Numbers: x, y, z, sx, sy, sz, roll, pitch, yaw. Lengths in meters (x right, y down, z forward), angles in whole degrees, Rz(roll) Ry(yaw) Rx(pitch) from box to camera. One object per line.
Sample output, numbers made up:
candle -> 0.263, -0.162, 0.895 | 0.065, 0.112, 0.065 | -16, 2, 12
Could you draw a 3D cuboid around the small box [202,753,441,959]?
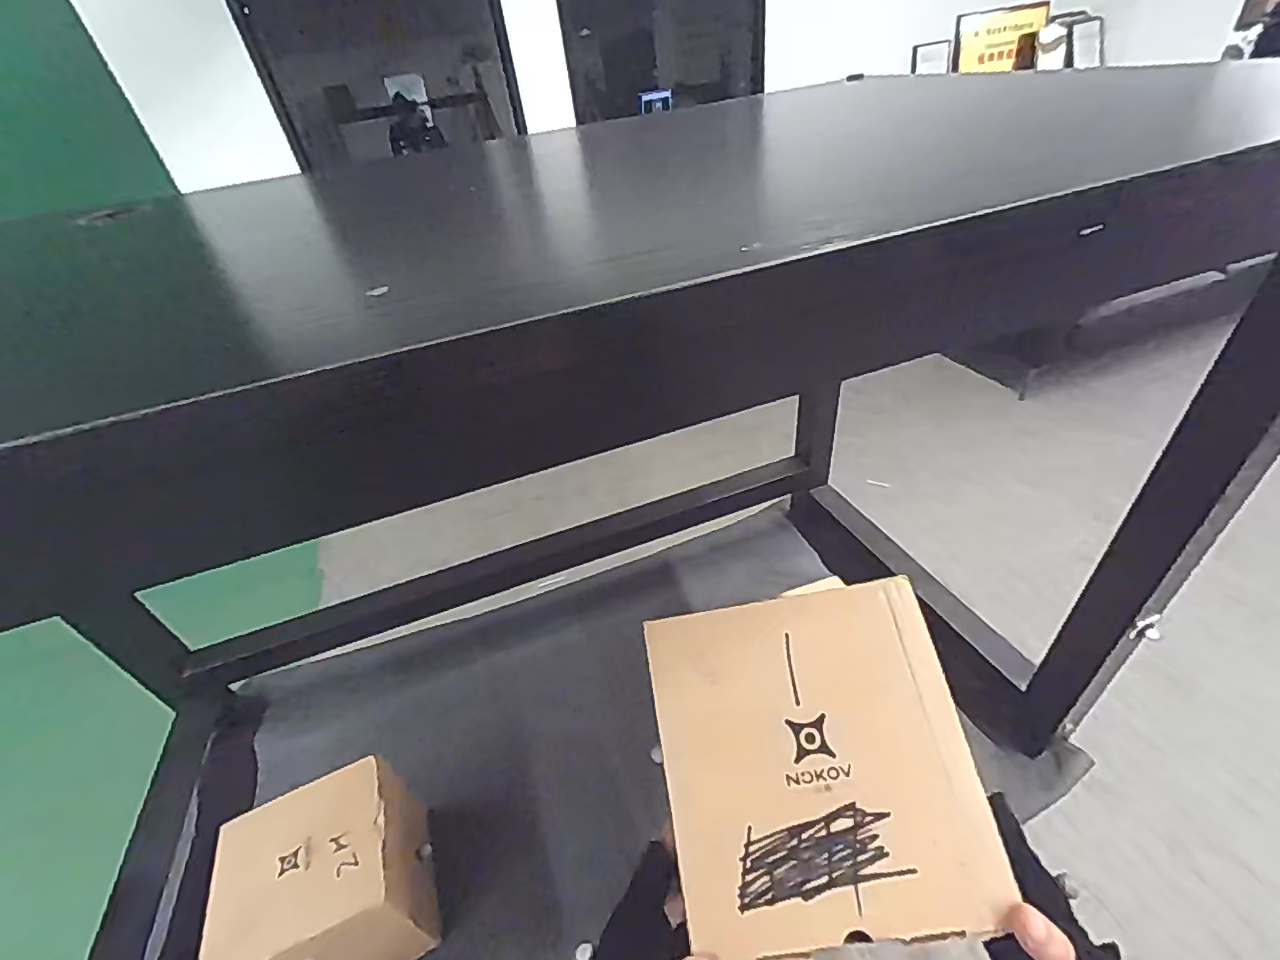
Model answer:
small box -> -0.355, 0.468, 0.630 | 0.179, 0.176, 0.168 | -20, 39, -15
